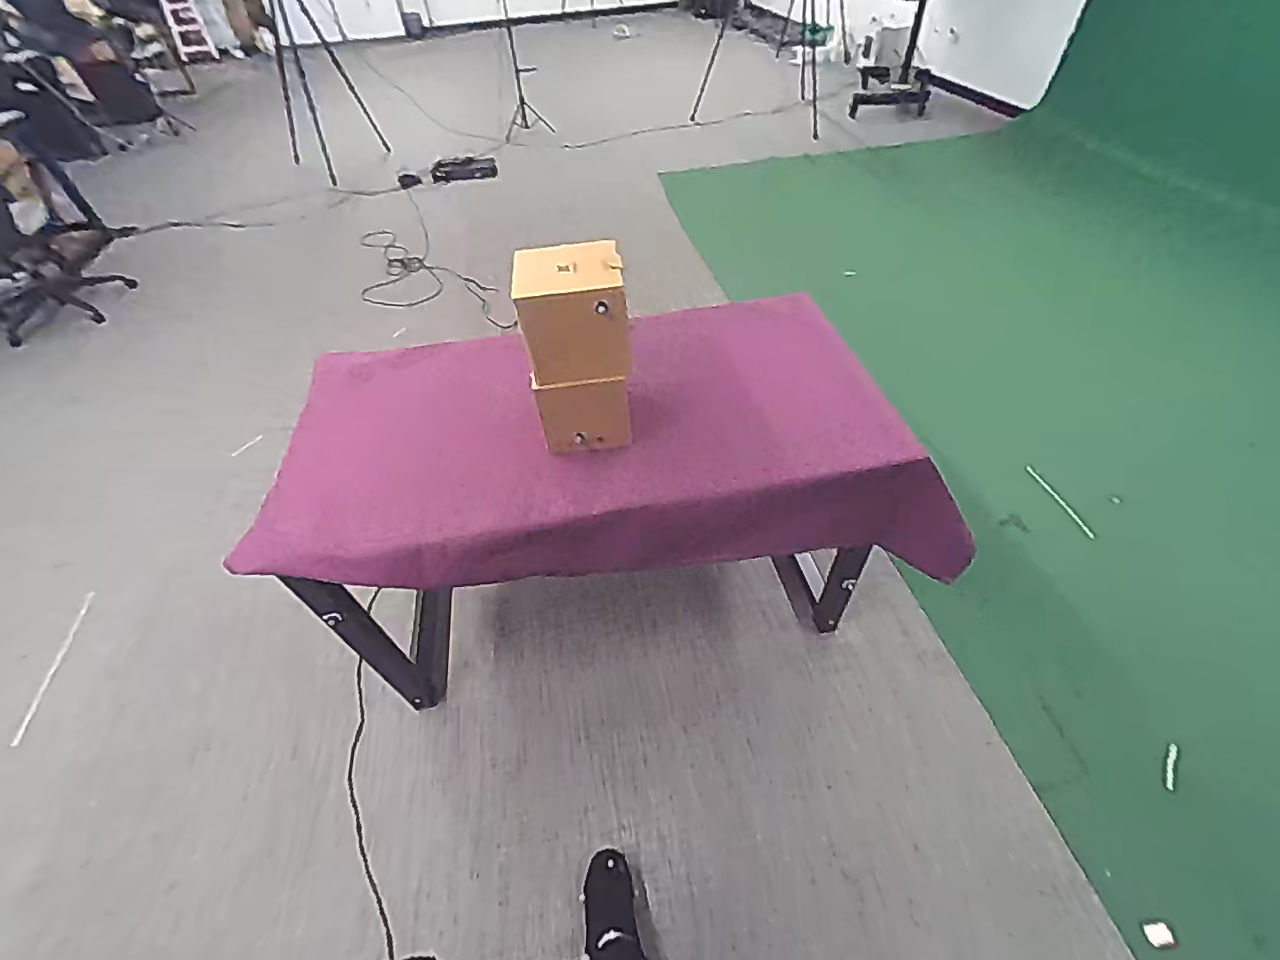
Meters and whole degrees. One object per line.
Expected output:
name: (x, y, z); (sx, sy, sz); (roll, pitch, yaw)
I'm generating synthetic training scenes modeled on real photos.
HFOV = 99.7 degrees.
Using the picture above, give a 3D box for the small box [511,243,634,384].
small box: (-0.111, -0.280, 0.925); (0.179, 0.176, 0.168); (-8, 48, -2)

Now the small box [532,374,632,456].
small box: (-0.108, -0.170, 1.043); (0.168, 0.176, 0.179); (-7, 48, -1)
